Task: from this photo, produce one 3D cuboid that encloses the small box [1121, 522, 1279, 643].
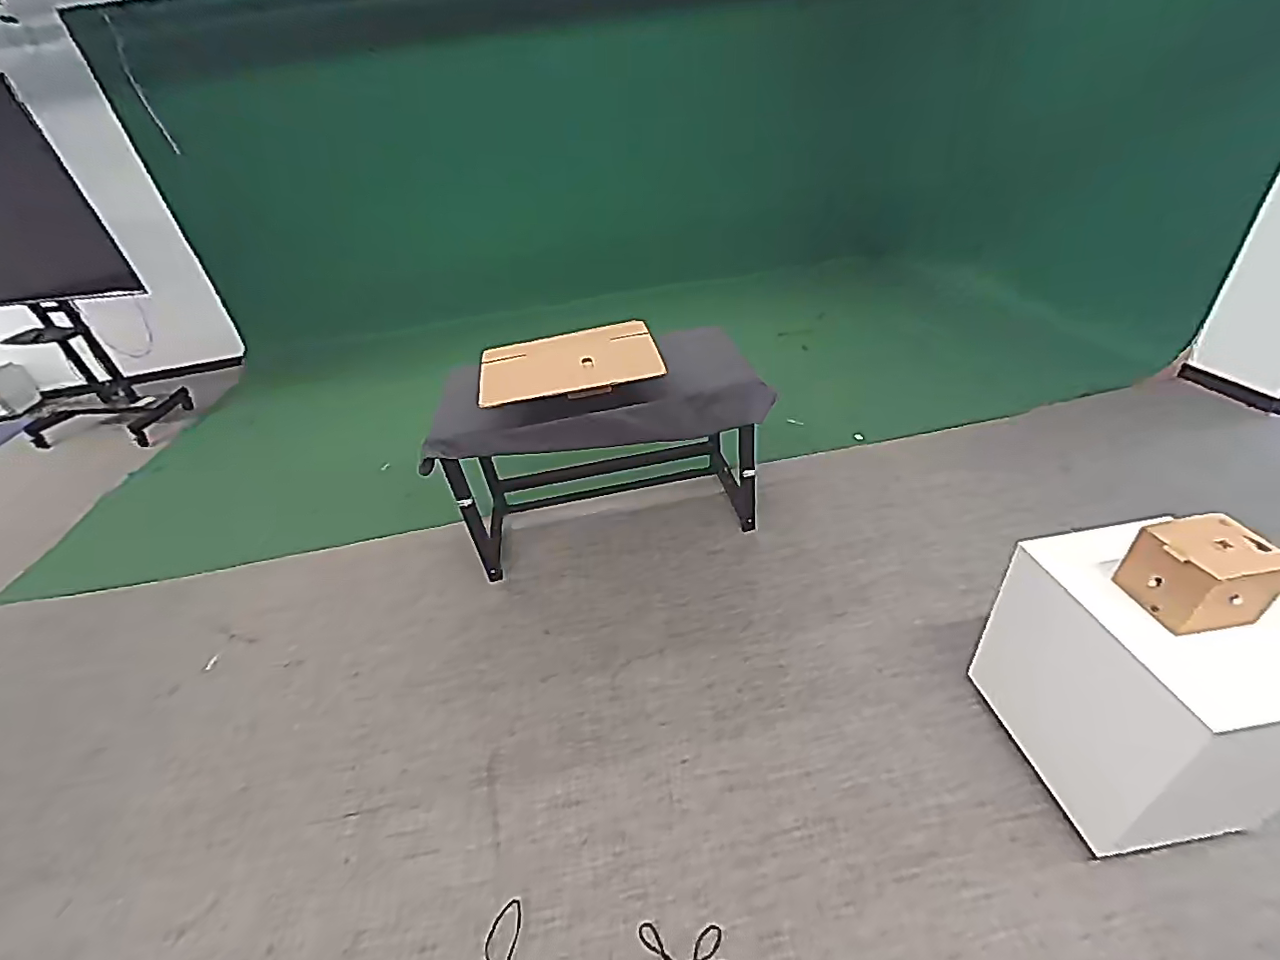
[{"bbox_3d":[1.159,0.215,1.122,0.179,0.176,0.168,-10,34,-4],"label":"small box"}]
